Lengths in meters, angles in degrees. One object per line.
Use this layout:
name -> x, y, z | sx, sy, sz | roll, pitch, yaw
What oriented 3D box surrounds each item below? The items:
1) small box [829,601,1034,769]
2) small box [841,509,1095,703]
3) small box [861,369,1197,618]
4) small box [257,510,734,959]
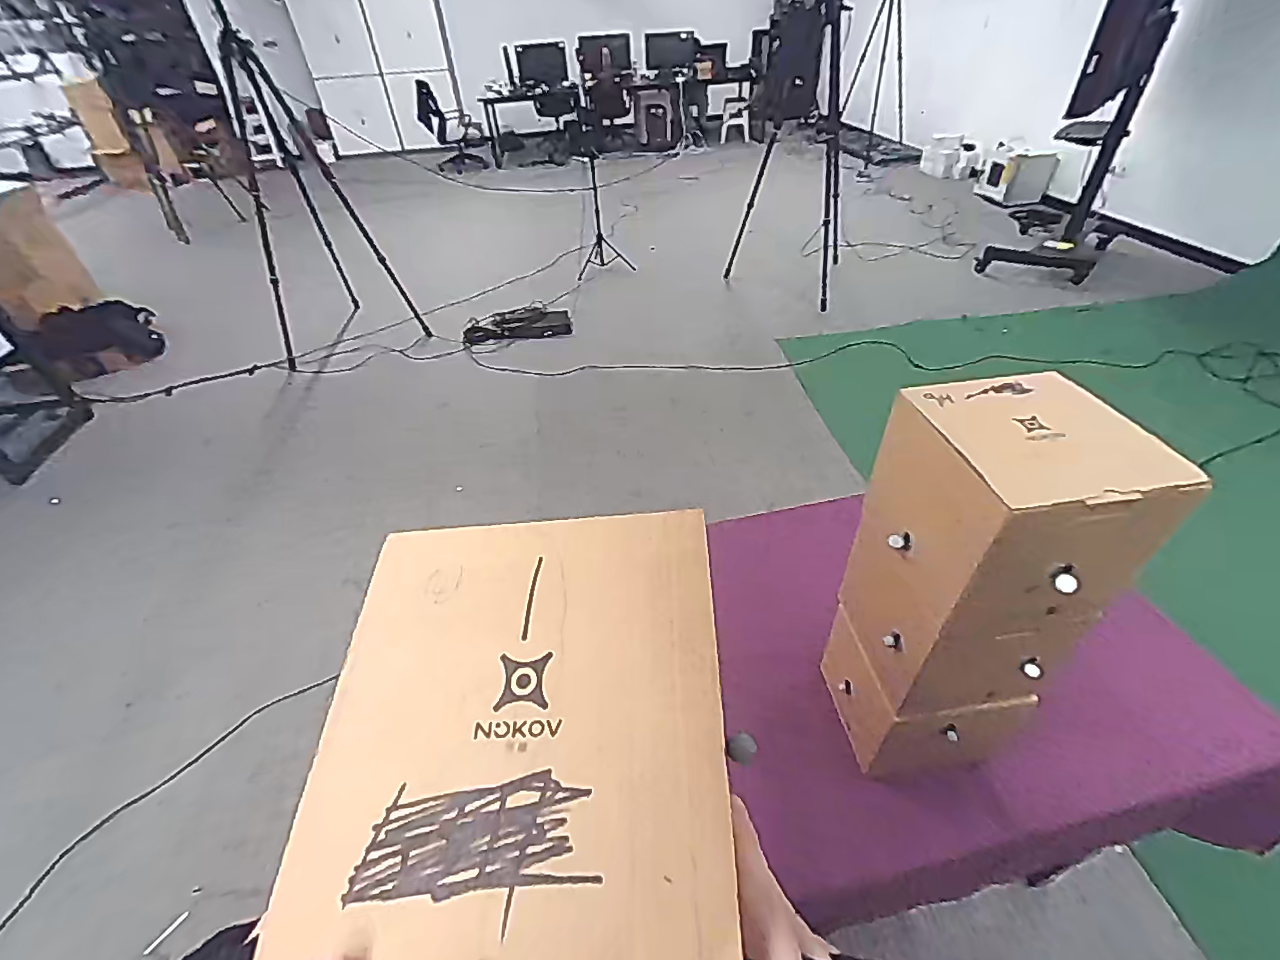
small box -> 0.368, 0.268, 0.729 | 0.179, 0.176, 0.168 | -7, 42, -2
small box -> 0.355, 0.140, 0.629 | 0.168, 0.176, 0.179 | -7, 41, -2
small box -> 0.339, 0.017, 0.521 | 0.168, 0.176, 0.179 | -7, 42, -3
small box -> -0.041, 0.138, 0.289 | 0.168, 0.176, 0.179 | -5, 53, 7
